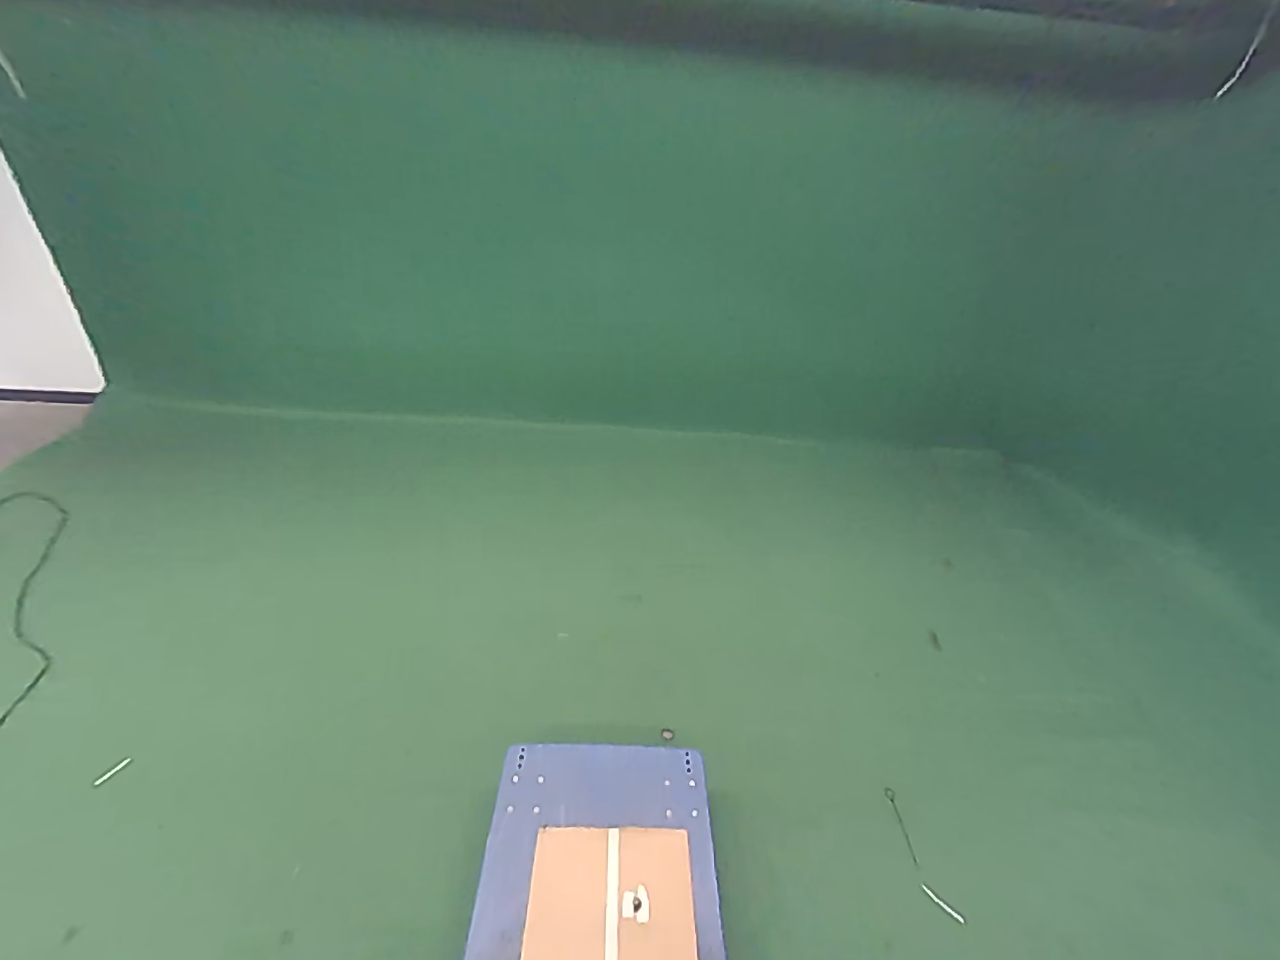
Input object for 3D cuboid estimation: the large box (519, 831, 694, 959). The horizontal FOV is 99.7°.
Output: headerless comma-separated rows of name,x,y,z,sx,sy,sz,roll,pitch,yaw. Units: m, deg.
large box,-0.067,0.962,1.028,0.320,0.320,0.408,4,30,-4
